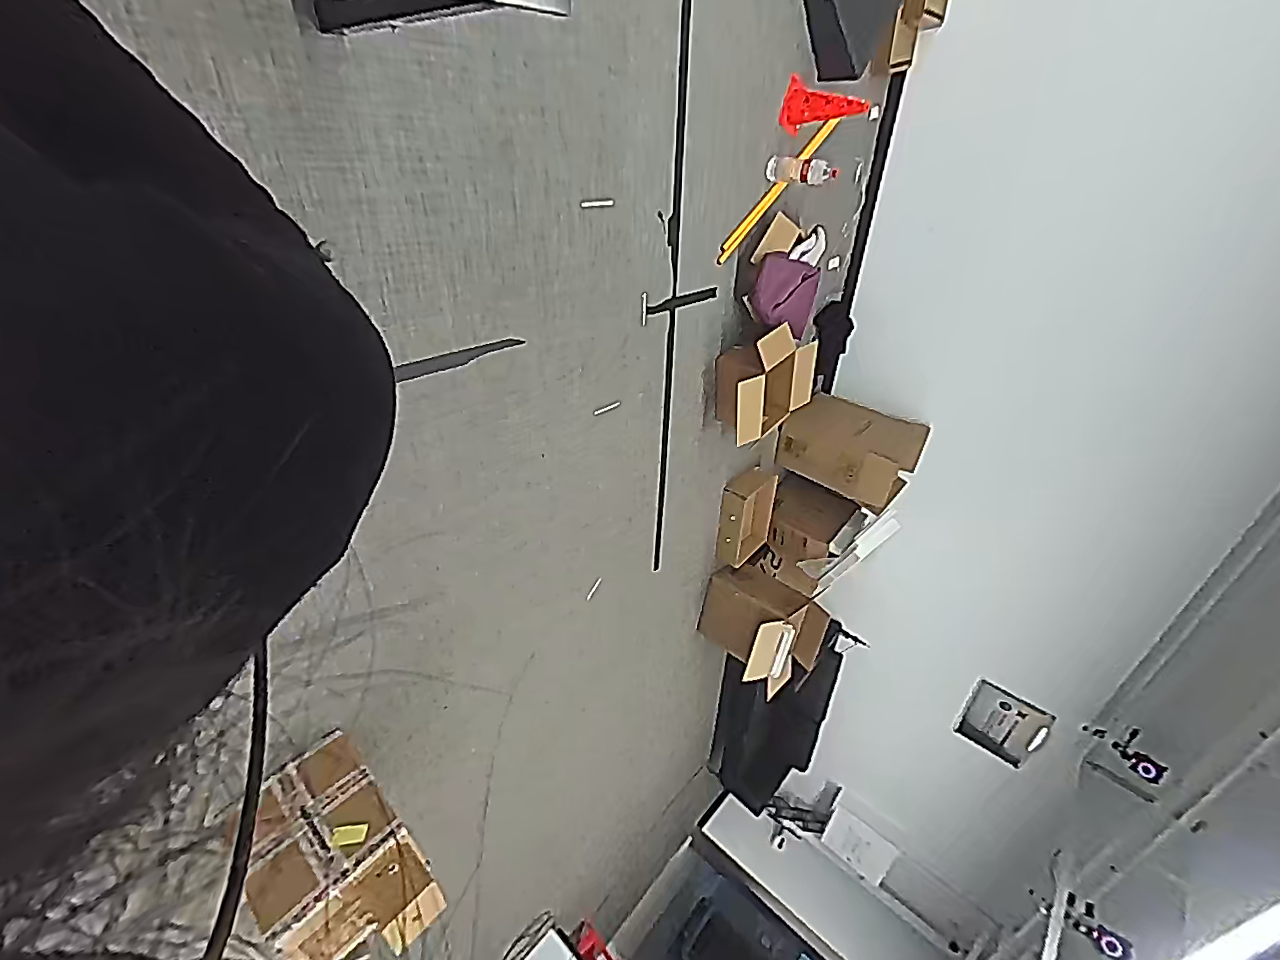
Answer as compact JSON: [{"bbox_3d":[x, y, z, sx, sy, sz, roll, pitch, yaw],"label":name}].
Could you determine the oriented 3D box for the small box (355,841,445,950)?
[{"bbox_3d":[-0.721,1.241,1.626,0.168,0.176,0.179,-33,132,-40],"label":"small box"}]
